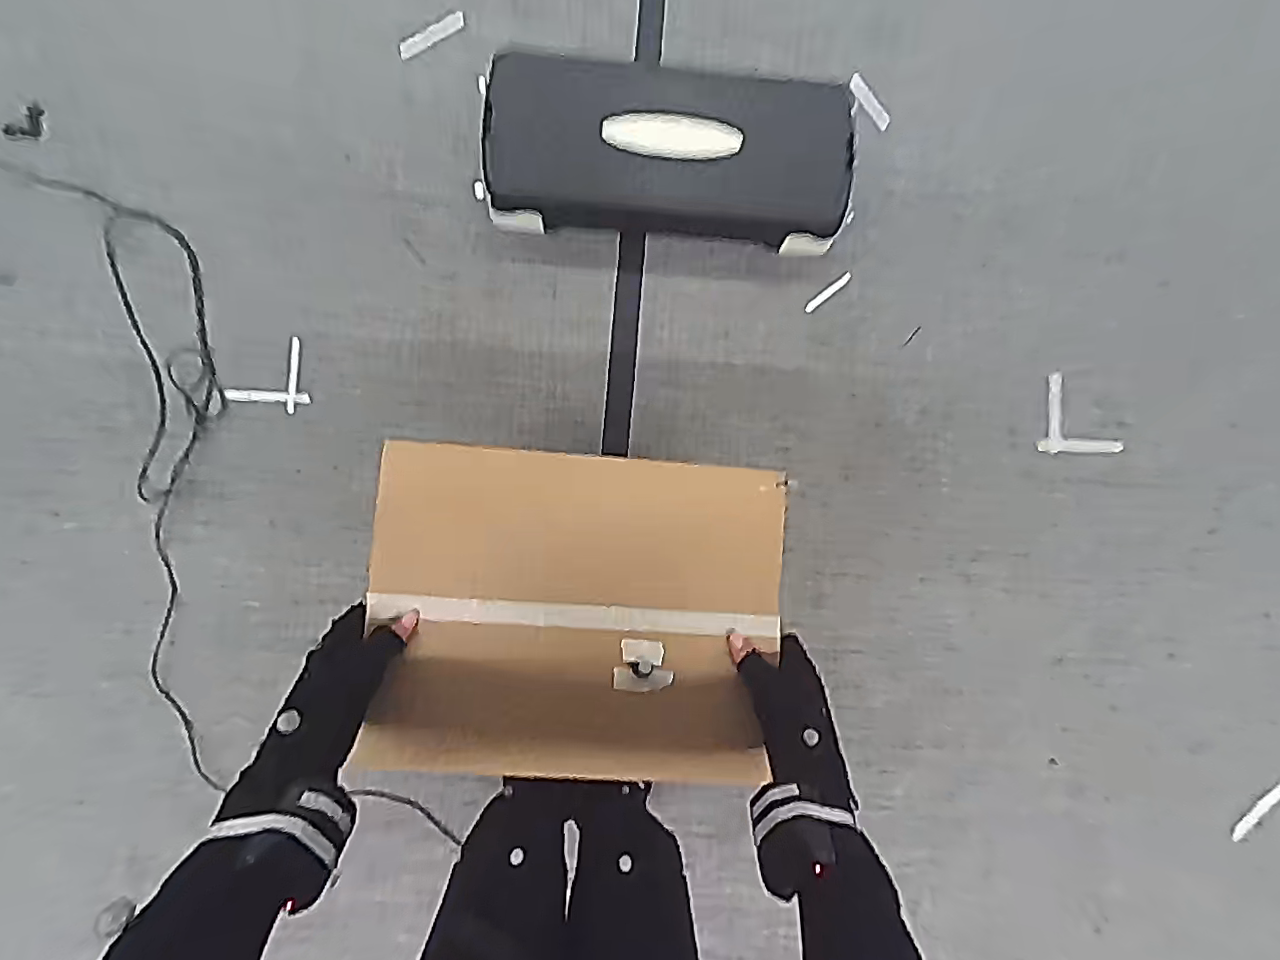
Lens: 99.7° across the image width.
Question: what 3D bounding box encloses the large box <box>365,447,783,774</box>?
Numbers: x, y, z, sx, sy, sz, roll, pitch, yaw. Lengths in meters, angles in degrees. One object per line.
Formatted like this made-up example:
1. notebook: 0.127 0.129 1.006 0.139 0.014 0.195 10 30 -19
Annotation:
1. large box: -0.070 0.142 0.684 0.408 0.320 0.320 4 87 -5
